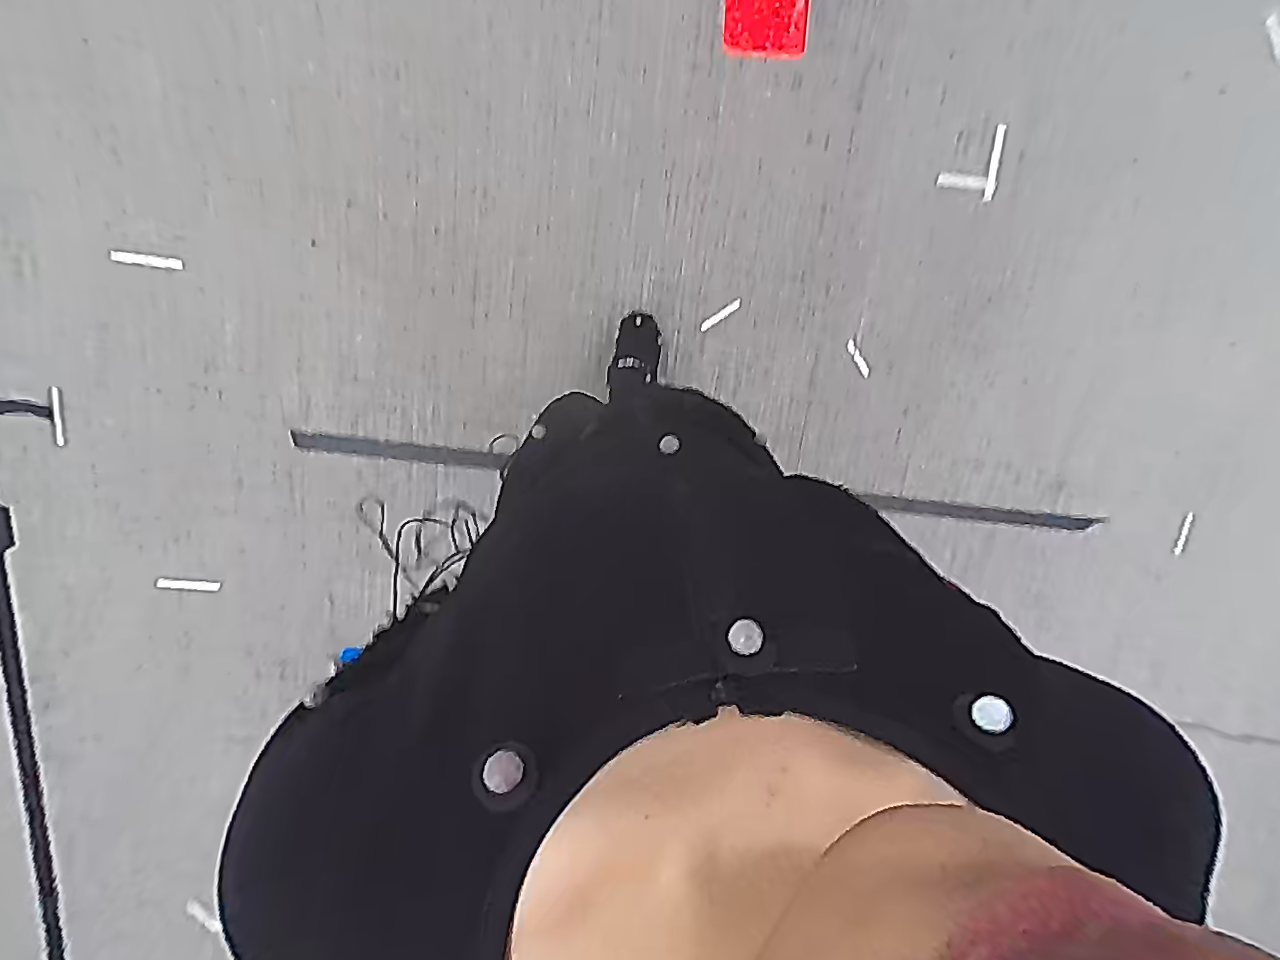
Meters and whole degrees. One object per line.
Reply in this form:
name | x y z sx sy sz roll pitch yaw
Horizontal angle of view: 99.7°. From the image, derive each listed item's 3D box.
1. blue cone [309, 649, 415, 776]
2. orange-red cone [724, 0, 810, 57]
blue cone | -0.712 0.592 1.344 0.193 0.380 0.192 1 102 -5
orange-red cone | 0.308 -1.057 1.077 0.199 0.360 0.198 1 102 -4
